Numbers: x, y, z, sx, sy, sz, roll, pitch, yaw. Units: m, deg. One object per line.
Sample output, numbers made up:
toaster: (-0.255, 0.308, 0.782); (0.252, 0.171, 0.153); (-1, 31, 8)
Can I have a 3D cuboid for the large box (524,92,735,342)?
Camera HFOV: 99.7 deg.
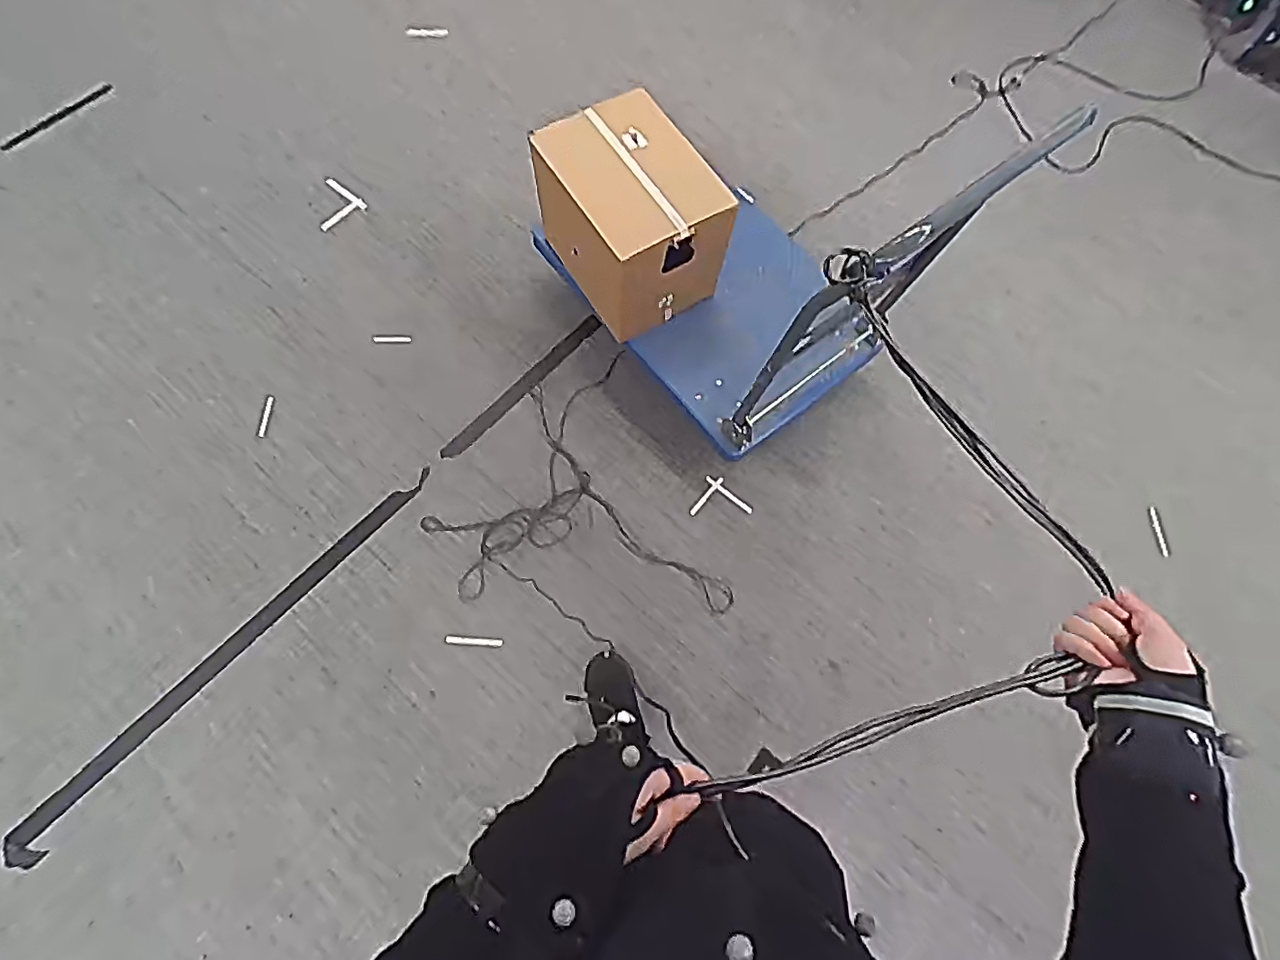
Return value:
large box: (-0.029, -0.629, 1.330); (0.320, 0.320, 0.408); (-31, 75, -13)
